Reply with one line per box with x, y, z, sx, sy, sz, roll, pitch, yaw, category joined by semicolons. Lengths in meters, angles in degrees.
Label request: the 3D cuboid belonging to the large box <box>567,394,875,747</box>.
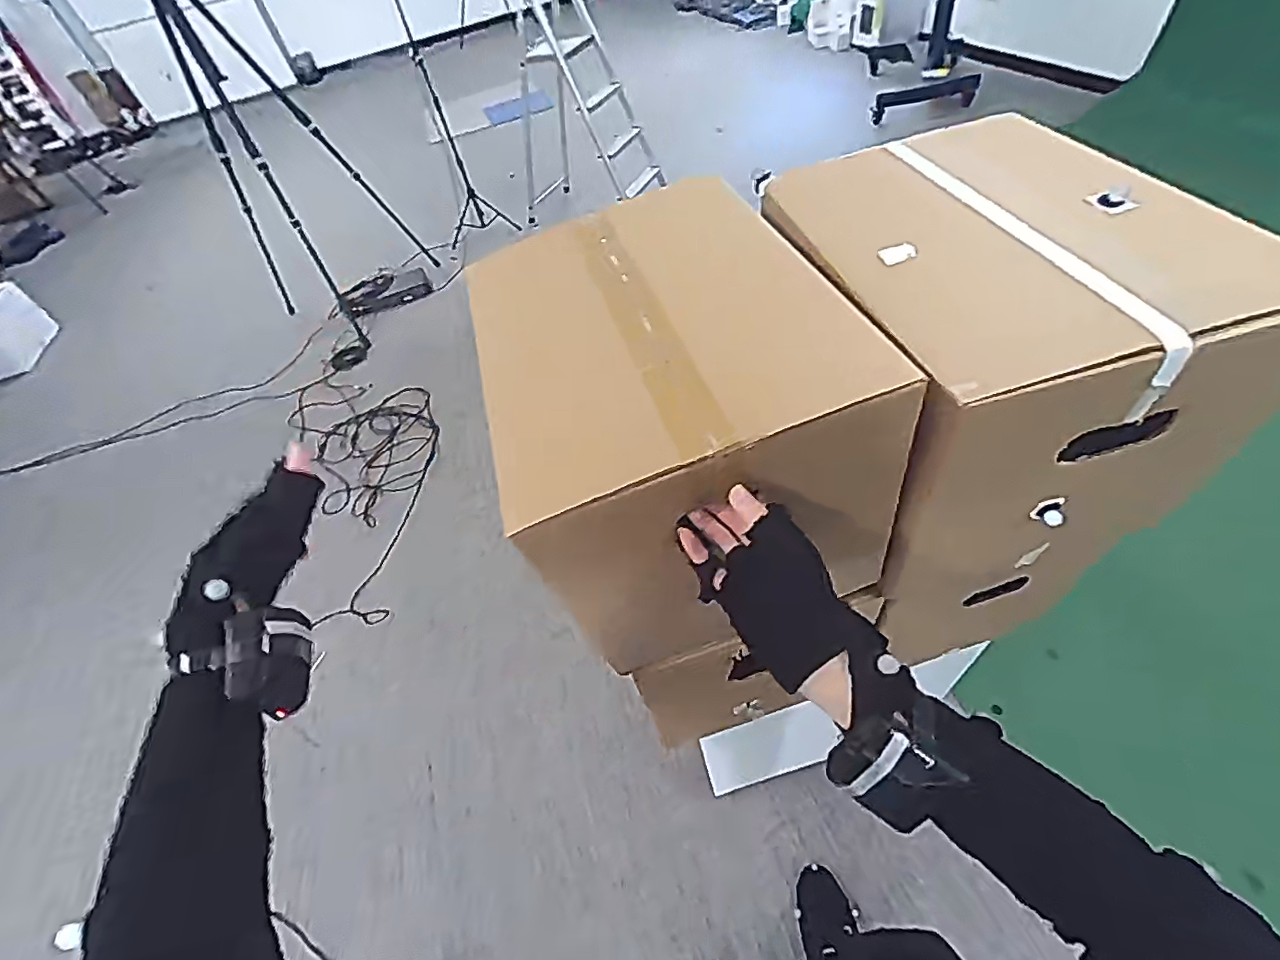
0.105;0.136;0.866;0.320;0.320;0.408;-17;48;-5;large box
